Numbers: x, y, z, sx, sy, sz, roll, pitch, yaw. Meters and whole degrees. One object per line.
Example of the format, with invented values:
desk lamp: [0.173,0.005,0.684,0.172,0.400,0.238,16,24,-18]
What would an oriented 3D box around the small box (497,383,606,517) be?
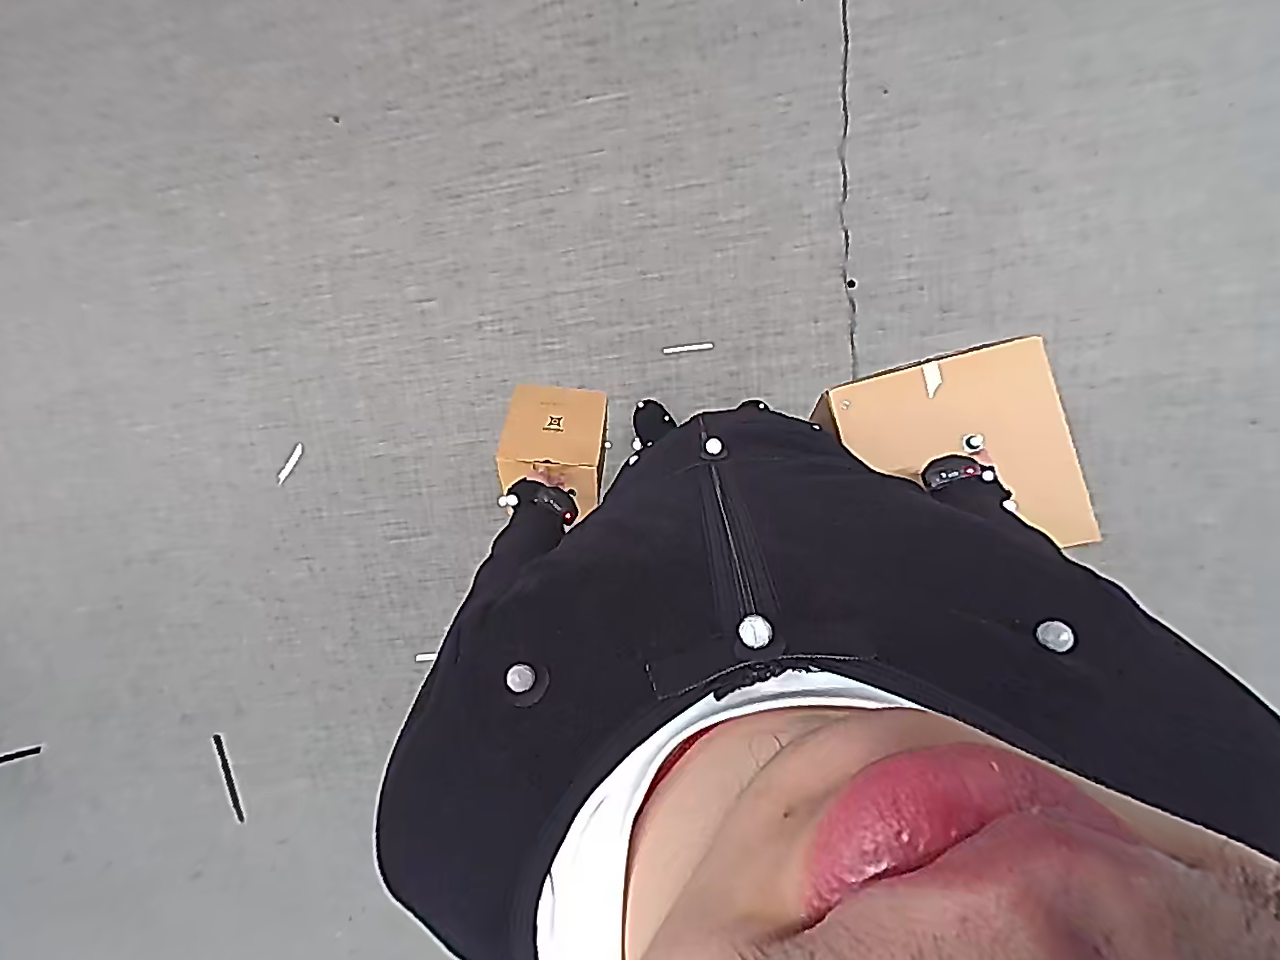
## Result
small box: [-0.154,-0.050,0.989,0.168,0.179,0.176,6,144,-3]
